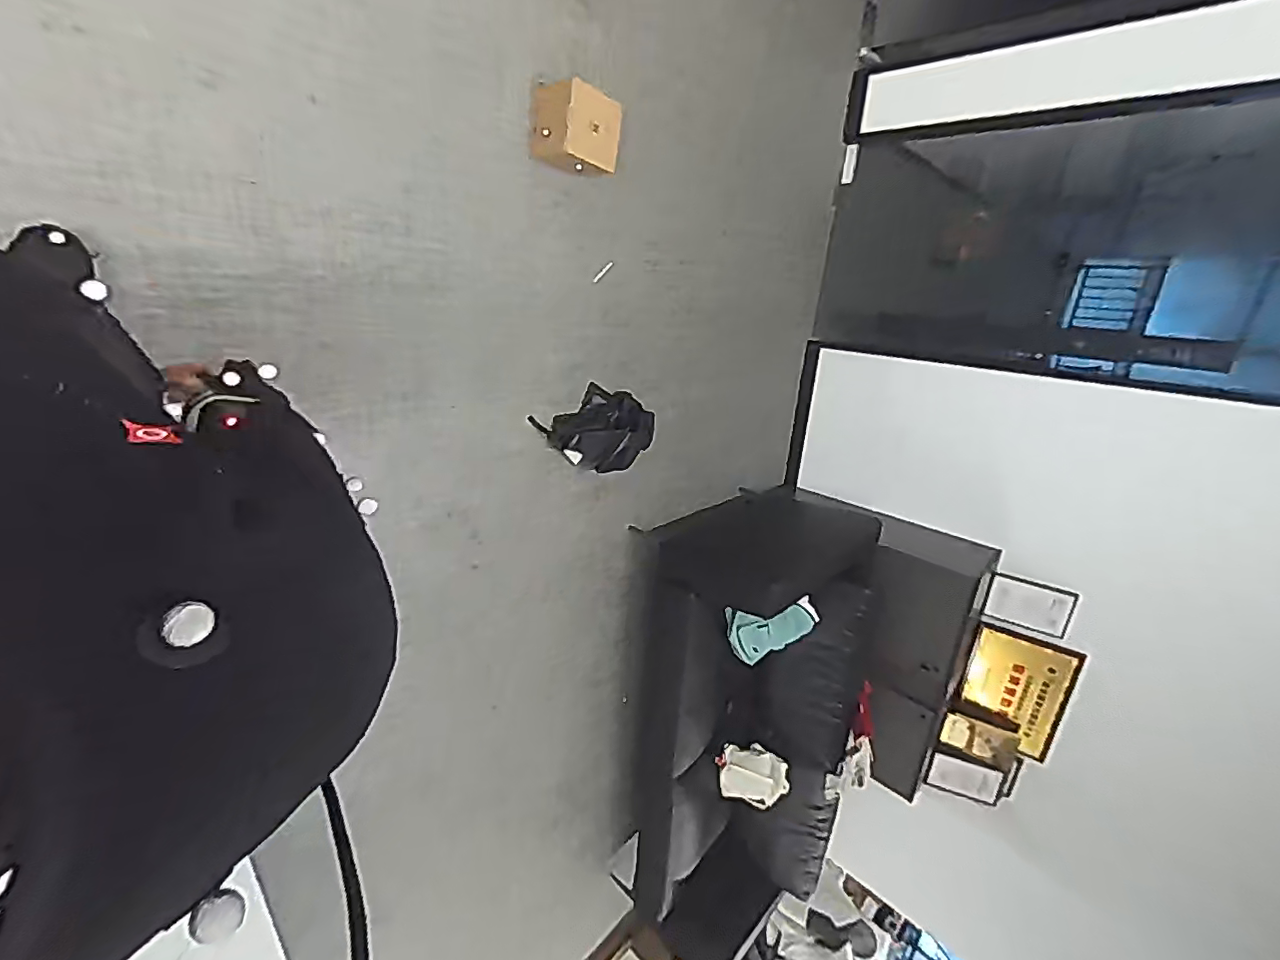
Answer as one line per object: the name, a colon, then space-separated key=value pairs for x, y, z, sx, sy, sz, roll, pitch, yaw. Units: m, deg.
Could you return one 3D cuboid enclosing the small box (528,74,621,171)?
small box: x=-0.179 y=-0.940 z=1.443 sx=0.179 sy=0.176 sz=0.168 roll=-8 pitch=114 yaw=-48
